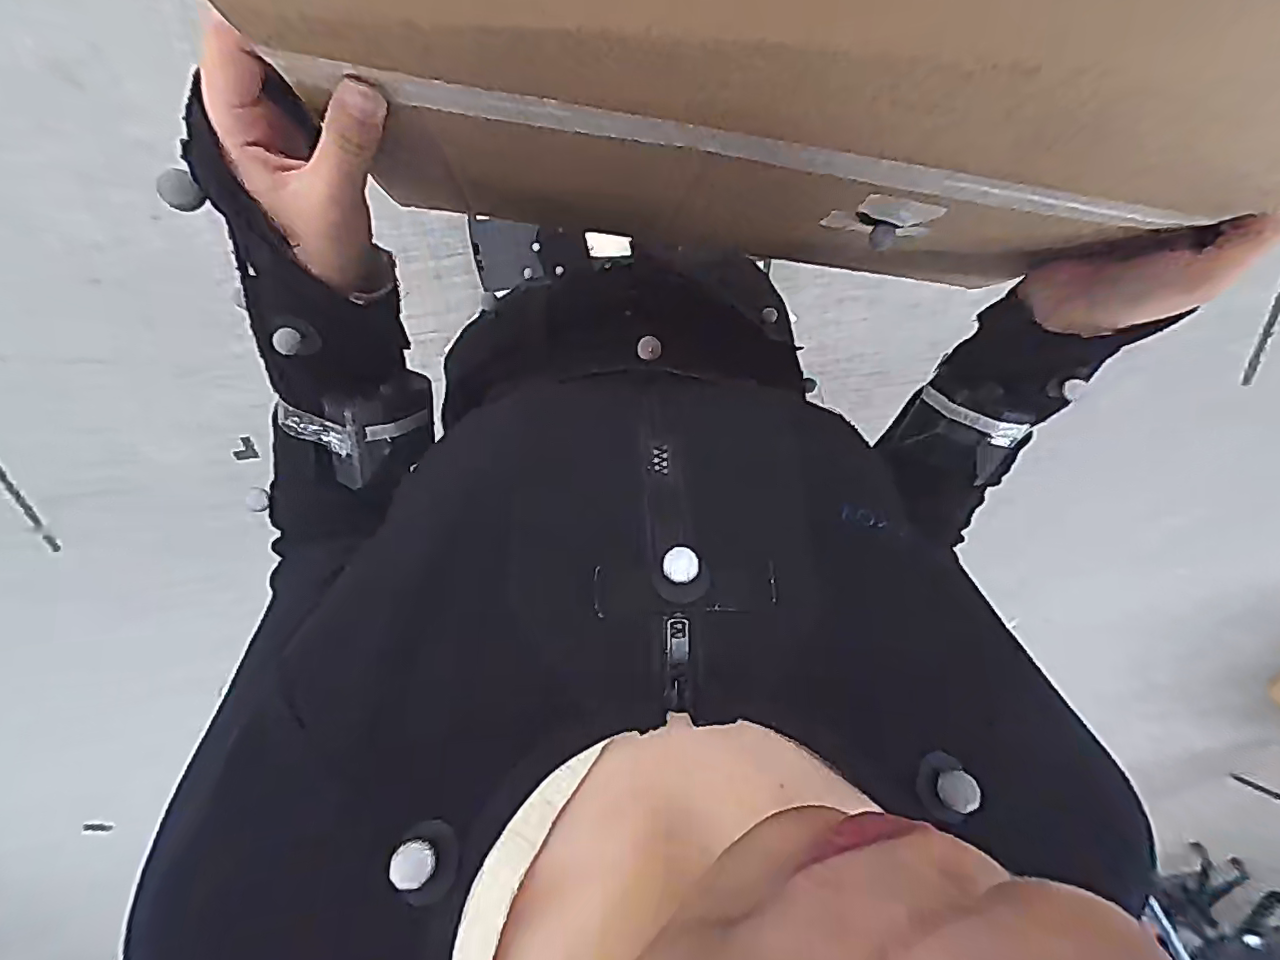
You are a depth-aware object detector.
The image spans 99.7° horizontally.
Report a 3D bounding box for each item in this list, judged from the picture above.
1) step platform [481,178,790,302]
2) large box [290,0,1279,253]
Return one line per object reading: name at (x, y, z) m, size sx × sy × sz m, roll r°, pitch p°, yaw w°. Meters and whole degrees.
step platform at (-0.010, -0.571, 1.238) m, size 0.684 × 0.204 × 0.286 m, roll -2°, pitch 119°, yaw -3°
large box at (0.092, -0.294, 0.172) m, size 0.408 × 0.320 × 0.320 m, roll 4°, pitch 99°, yaw -8°
